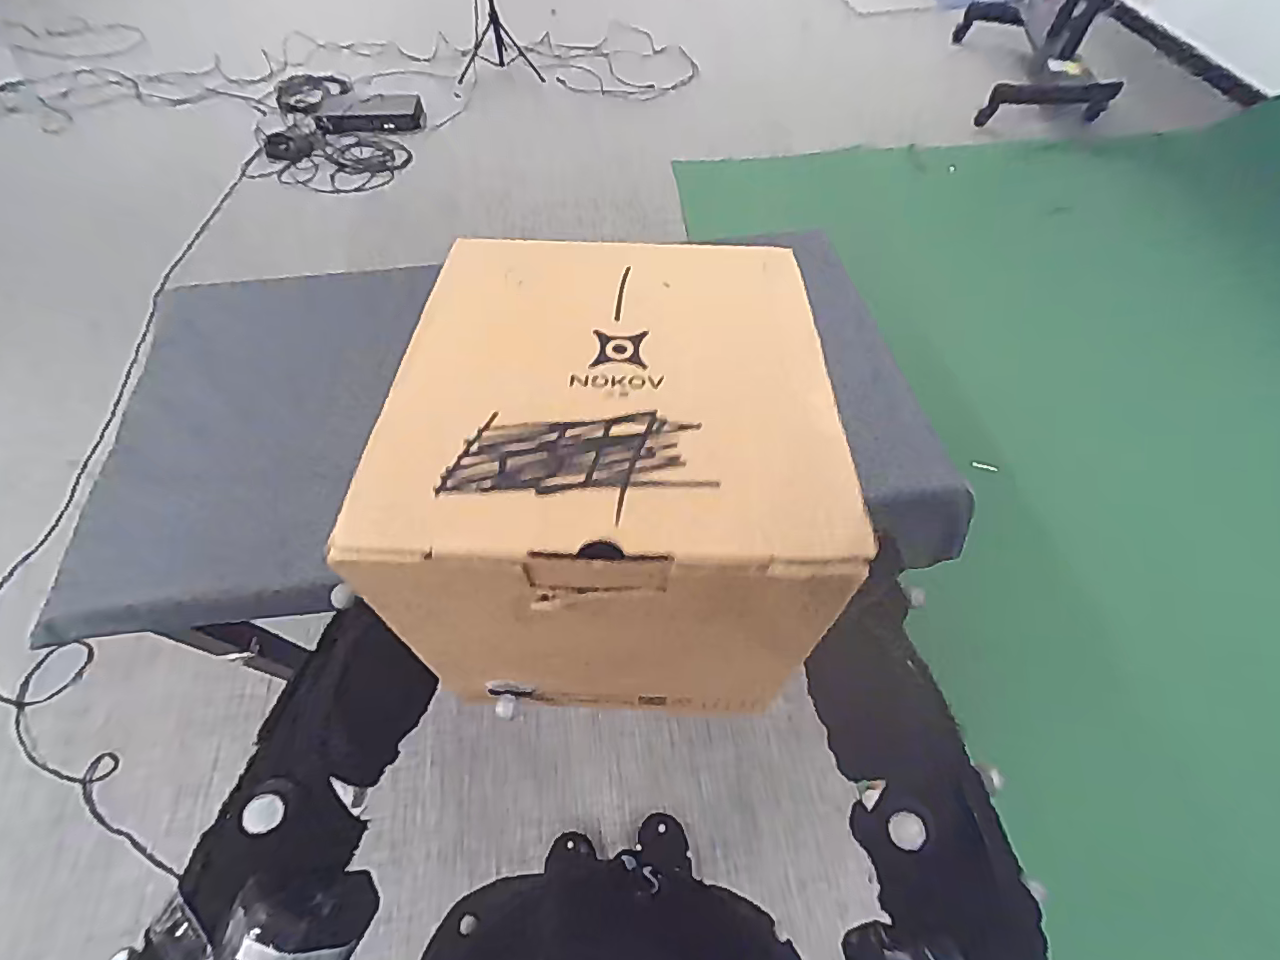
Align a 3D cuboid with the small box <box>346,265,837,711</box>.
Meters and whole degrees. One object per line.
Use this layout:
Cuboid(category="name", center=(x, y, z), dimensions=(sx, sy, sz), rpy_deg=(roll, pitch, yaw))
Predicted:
Cuboid(category="small box", center=(-0.014, 0.013, 0.288), dimensions=(0.168, 0.176, 0.179), rpy_deg=(3, 53, 0))
